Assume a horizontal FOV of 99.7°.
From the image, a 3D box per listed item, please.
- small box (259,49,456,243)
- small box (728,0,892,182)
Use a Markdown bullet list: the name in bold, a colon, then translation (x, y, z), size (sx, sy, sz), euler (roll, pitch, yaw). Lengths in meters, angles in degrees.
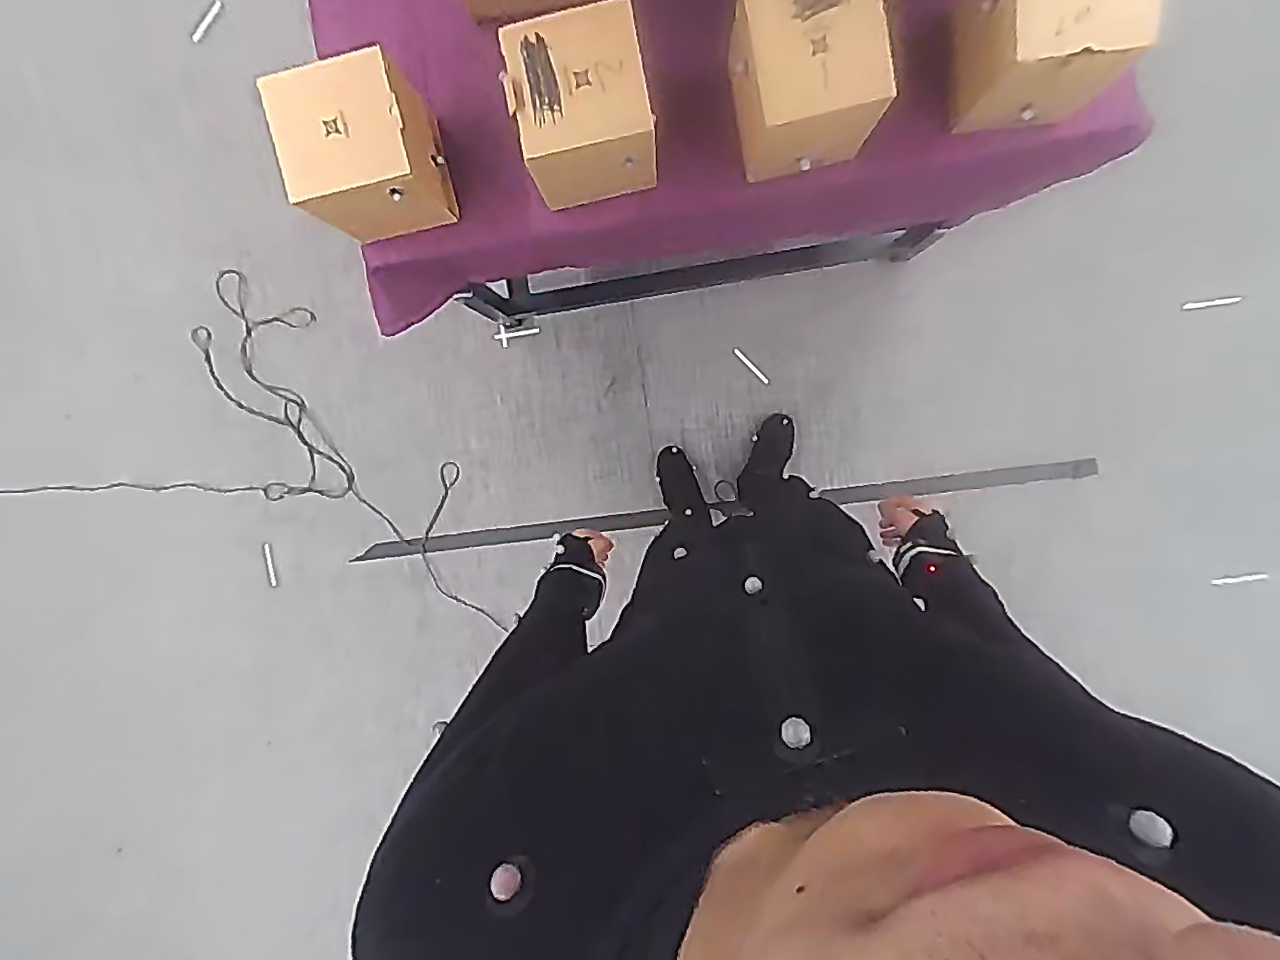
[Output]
- **small box**: translation (-0.399, -0.470, 0.792), size (0.179, 0.176, 0.168), euler (-13, 95, 3)
- **small box**: translation (0.222, -0.552, 0.748), size (0.168, 0.176, 0.179), euler (-11, 96, 5)
